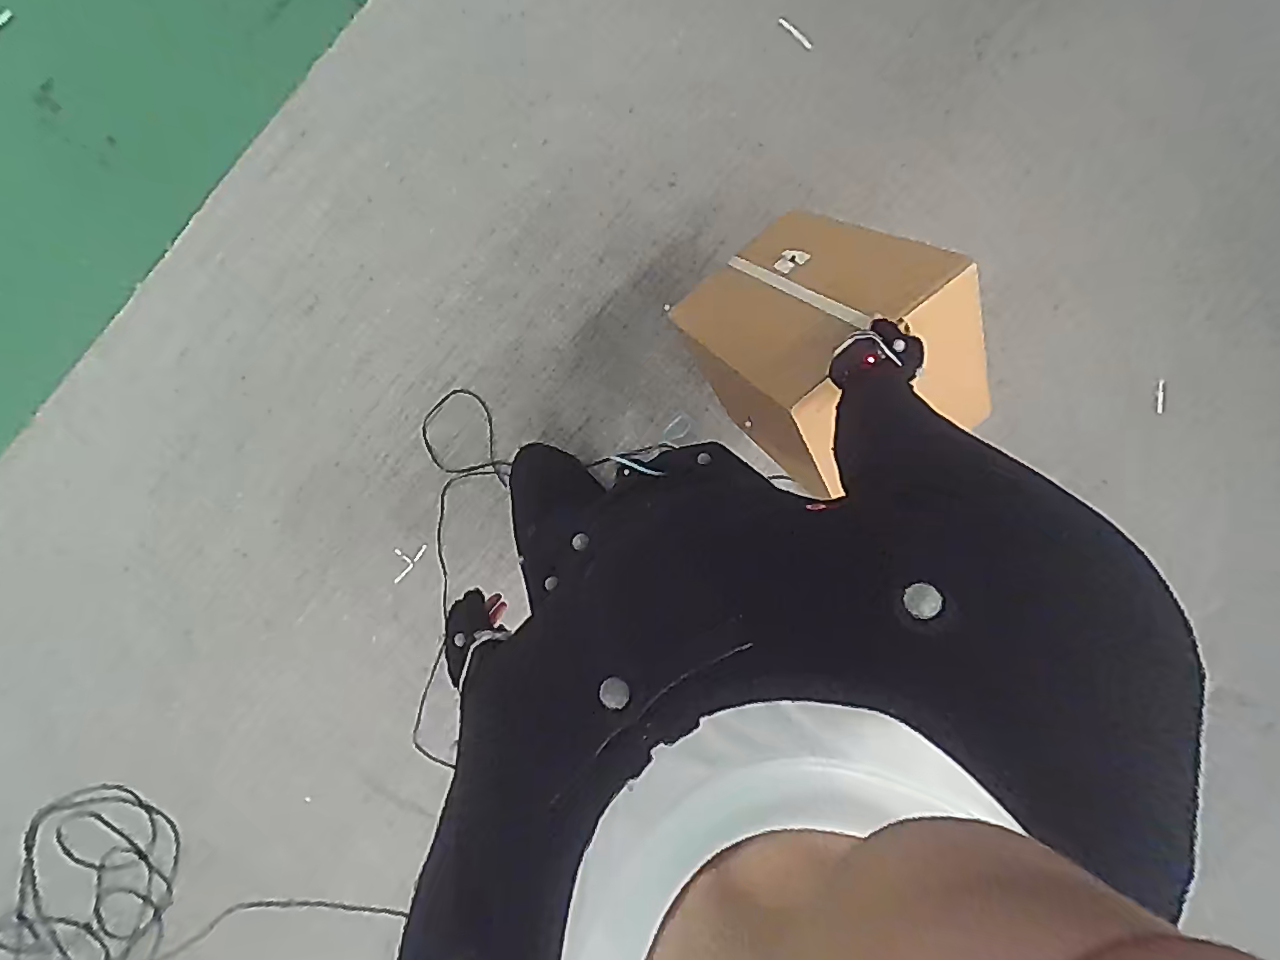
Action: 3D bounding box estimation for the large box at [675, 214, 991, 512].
[{"bbox_3d":[0.333,-0.220,0.977,0.320,0.408,0.320,-38,131,3],"label":"large box"}]
